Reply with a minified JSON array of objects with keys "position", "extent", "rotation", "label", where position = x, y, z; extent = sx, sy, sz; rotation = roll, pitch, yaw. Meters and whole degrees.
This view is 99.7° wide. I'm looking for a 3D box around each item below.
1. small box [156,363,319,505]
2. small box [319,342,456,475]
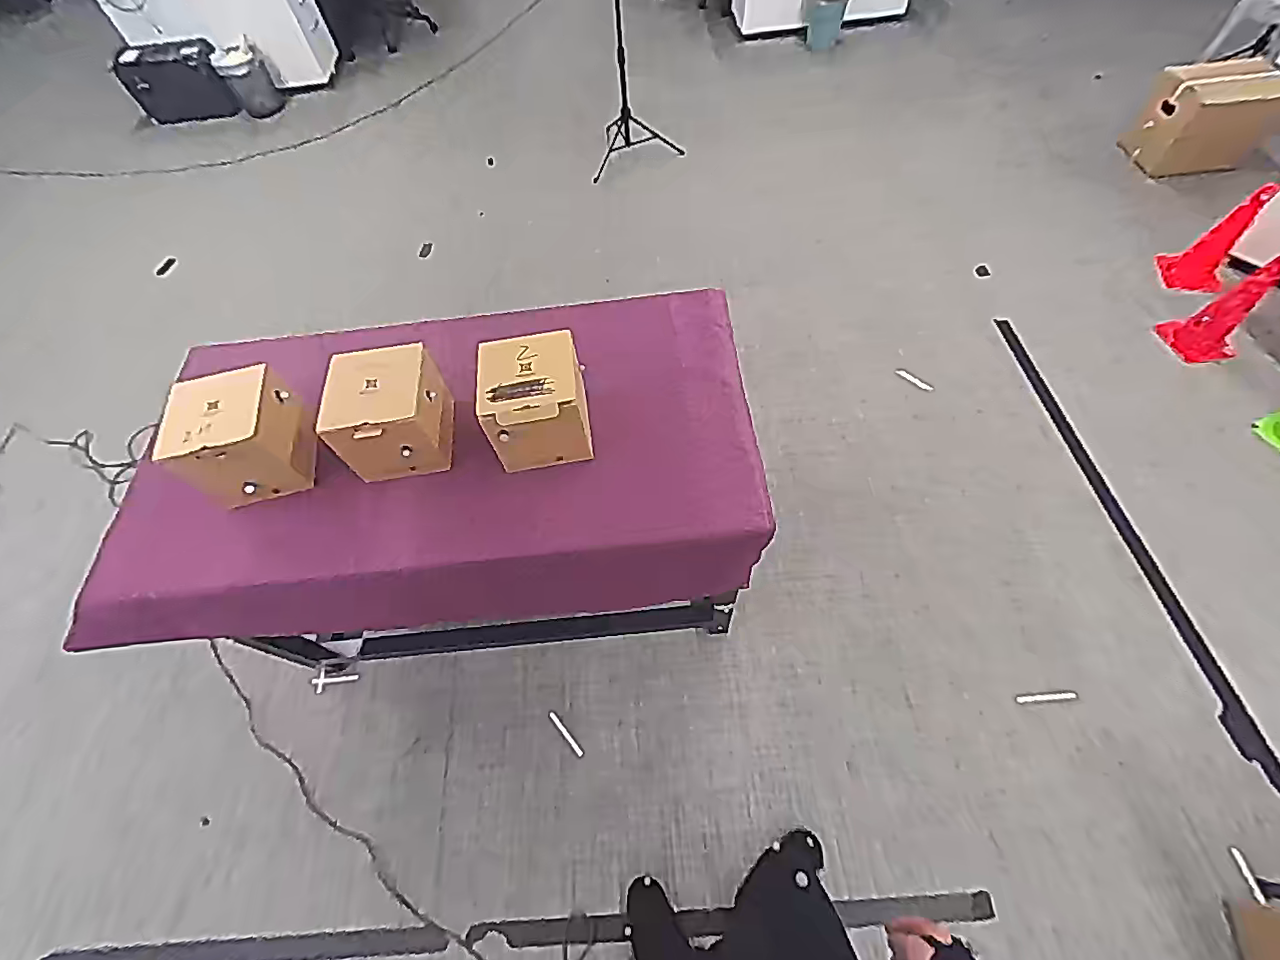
[{"position":[-0.716,-0.081,0.987],"extent":[0.168,0.176,0.179],"rotation":[-14,60,-3],"label":"small box"},{"position":[-0.449,-0.122,0.992],"extent":[0.168,0.176,0.179],"rotation":[-8,59,-1],"label":"small box"}]
